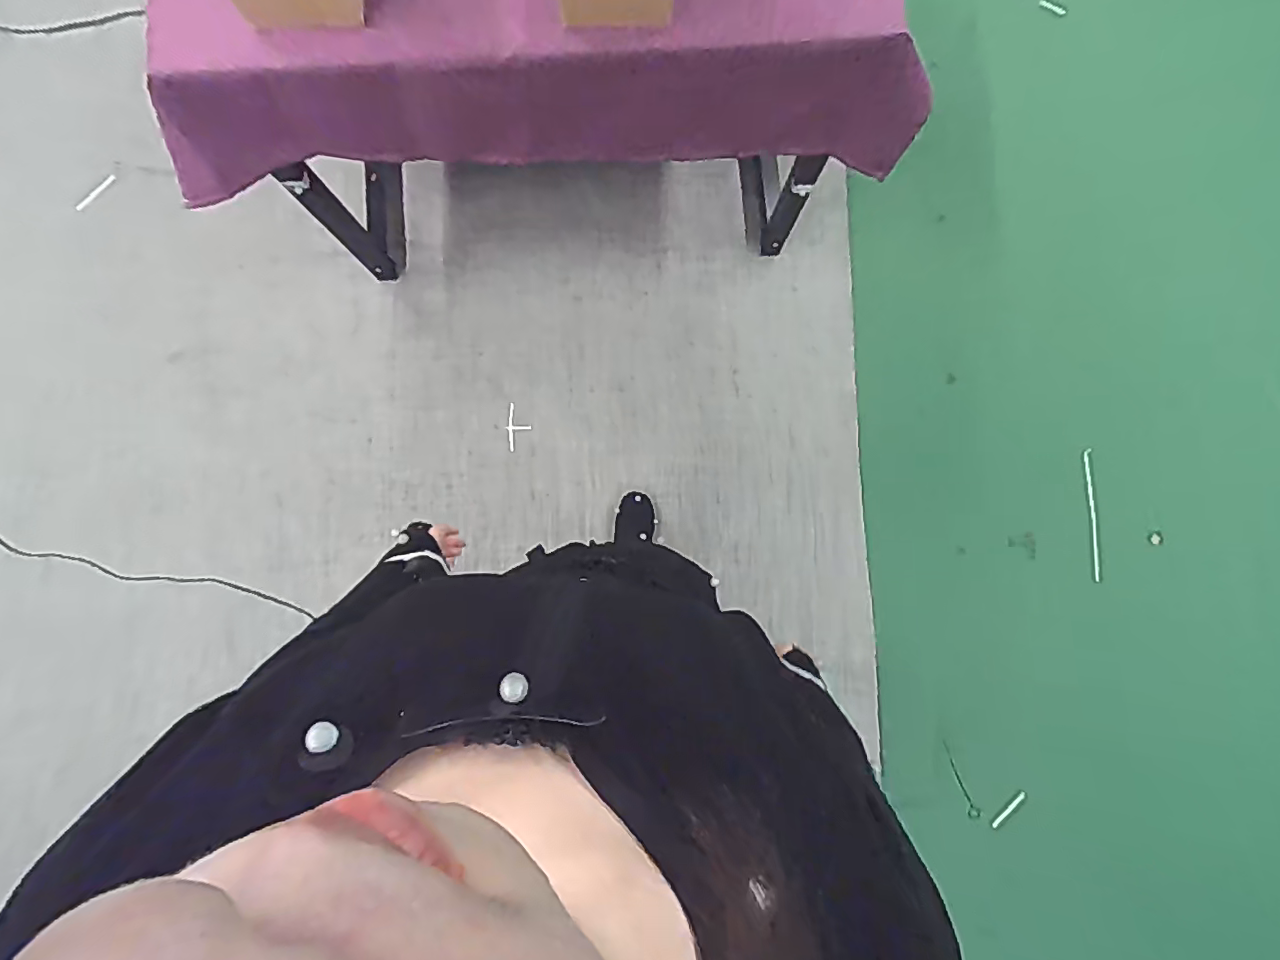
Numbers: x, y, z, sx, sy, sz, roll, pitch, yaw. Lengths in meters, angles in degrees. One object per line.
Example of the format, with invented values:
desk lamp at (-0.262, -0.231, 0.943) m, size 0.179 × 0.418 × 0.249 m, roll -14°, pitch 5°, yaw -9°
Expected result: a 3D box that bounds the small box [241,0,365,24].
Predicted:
small box at (-0.519, -0.801, 0.774) m, size 0.179 × 0.176 × 0.168 m, roll -1°, pitch 85°, yaw -1°
